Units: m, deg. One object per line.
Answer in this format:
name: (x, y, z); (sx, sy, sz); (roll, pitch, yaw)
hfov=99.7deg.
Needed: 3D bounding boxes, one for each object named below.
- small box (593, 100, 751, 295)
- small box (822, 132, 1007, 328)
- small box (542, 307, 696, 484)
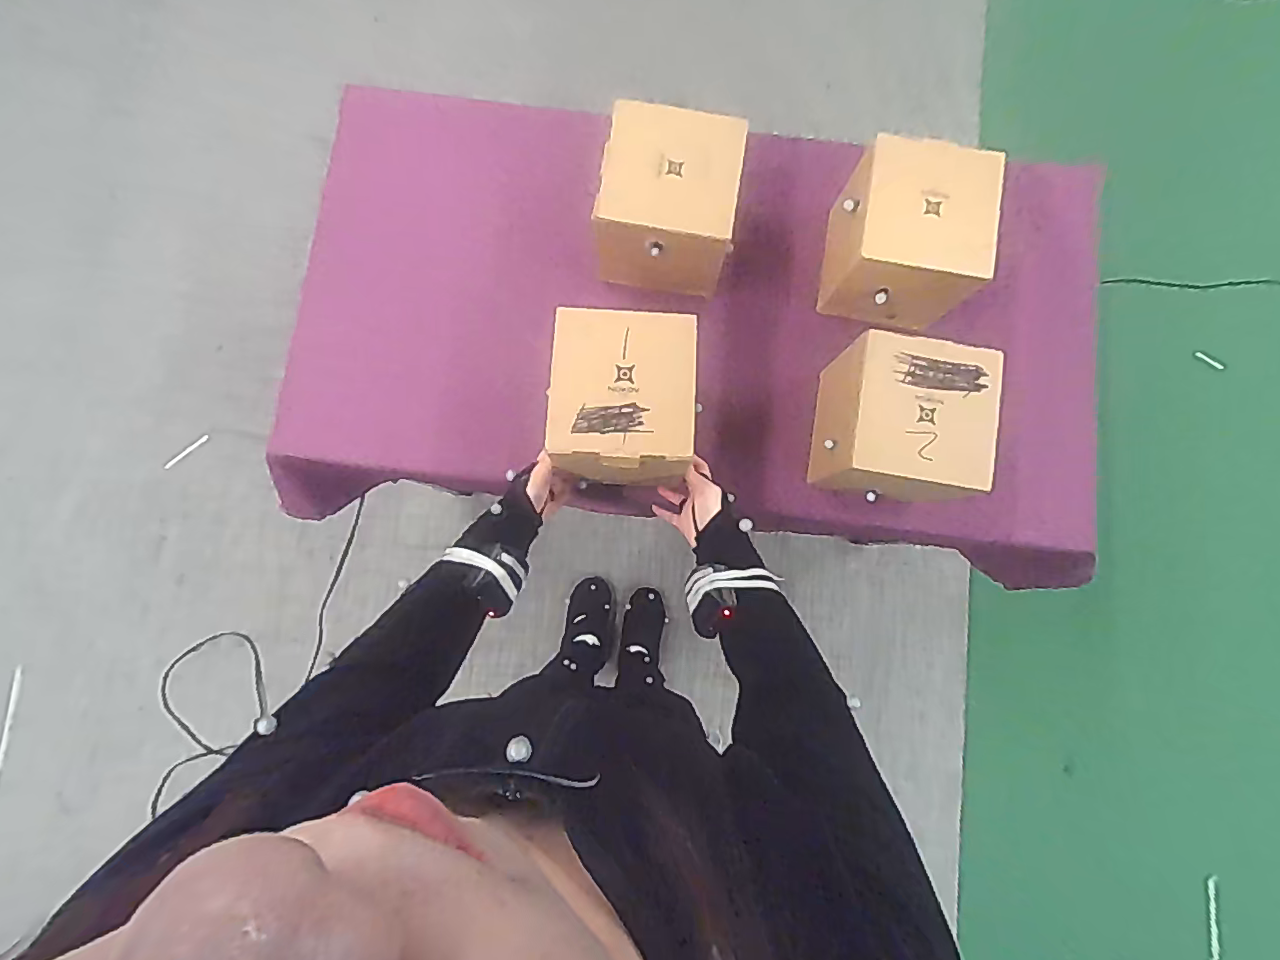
small box: (0.041, -0.380, 0.755); (0.179, 0.176, 0.168); (10, 83, 0)
small box: (0.365, -0.332, 0.749); (0.168, 0.176, 0.179); (10, 82, 2)
small box: (-0.022, -0.095, 0.683); (0.168, 0.176, 0.179); (3, 78, -1)
